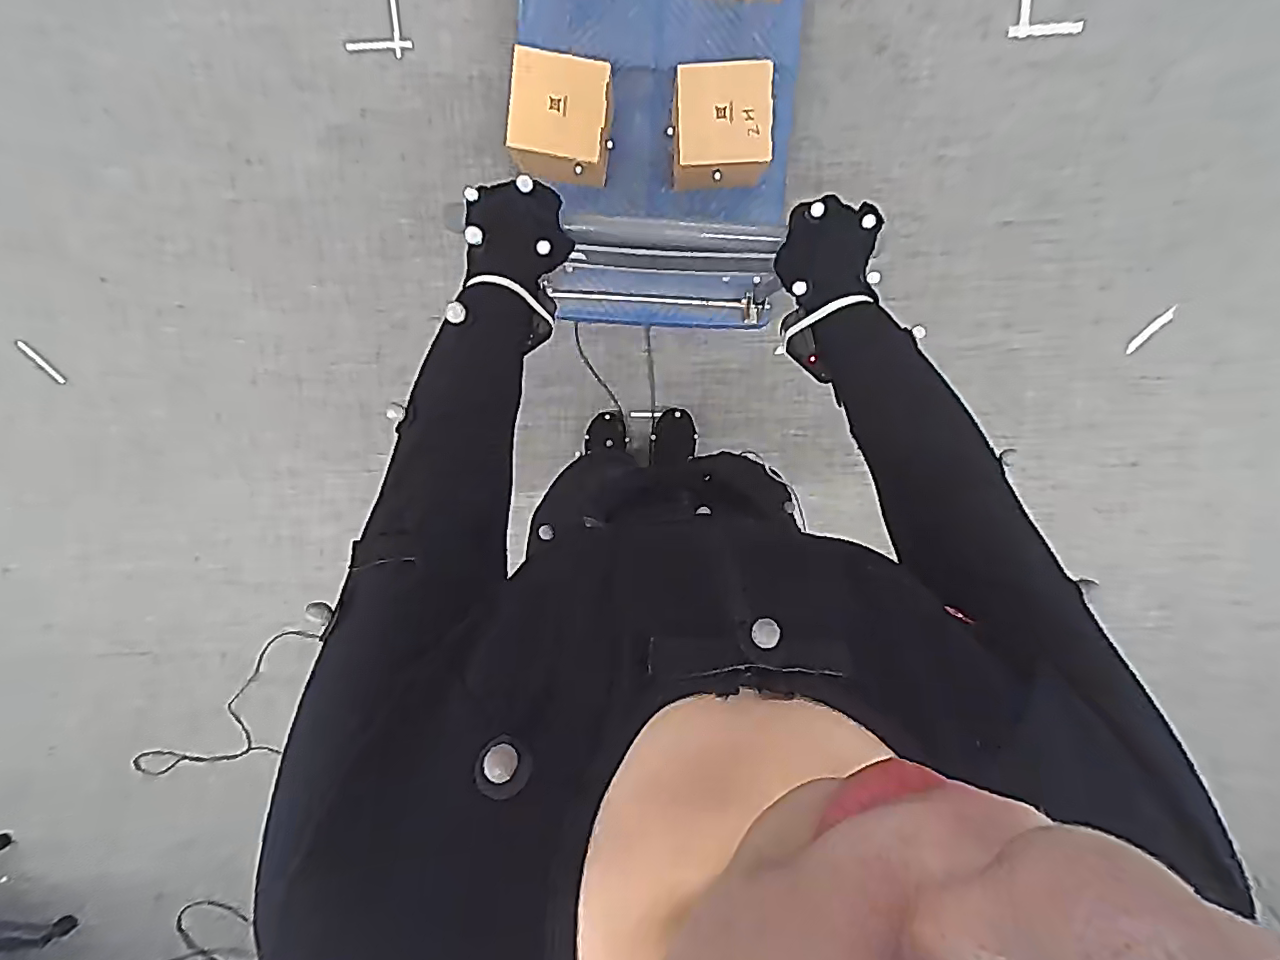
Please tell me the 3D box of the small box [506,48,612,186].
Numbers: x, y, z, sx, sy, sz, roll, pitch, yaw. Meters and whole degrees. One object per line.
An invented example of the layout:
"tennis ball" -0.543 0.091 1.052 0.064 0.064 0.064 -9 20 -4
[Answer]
"small box" -0.154 -0.704 1.070 0.179 0.176 0.168 8 103 -4

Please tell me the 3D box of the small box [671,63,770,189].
"small box" 0.152 -0.692 1.075 0.179 0.176 0.168 -2 104 0

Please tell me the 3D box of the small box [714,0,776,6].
"small box" 0.202 -1.031 0.995 0.168 0.176 0.179 3 104 -1
